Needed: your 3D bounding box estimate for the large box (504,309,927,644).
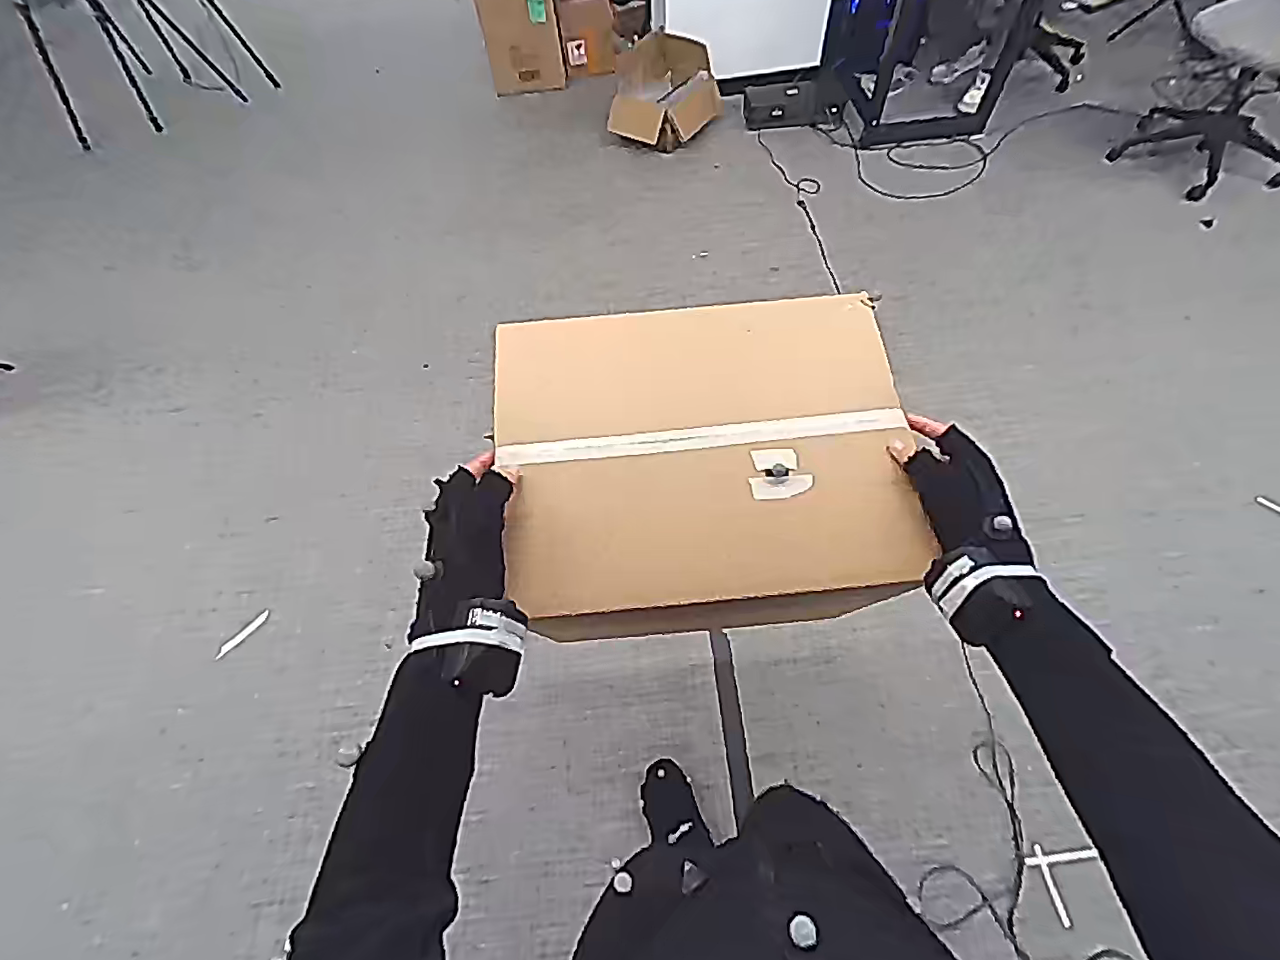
[{"bbox_3d":[0.060,0.020,0.694,0.408,0.320,0.320,-5,70,-2],"label":"large box"}]
